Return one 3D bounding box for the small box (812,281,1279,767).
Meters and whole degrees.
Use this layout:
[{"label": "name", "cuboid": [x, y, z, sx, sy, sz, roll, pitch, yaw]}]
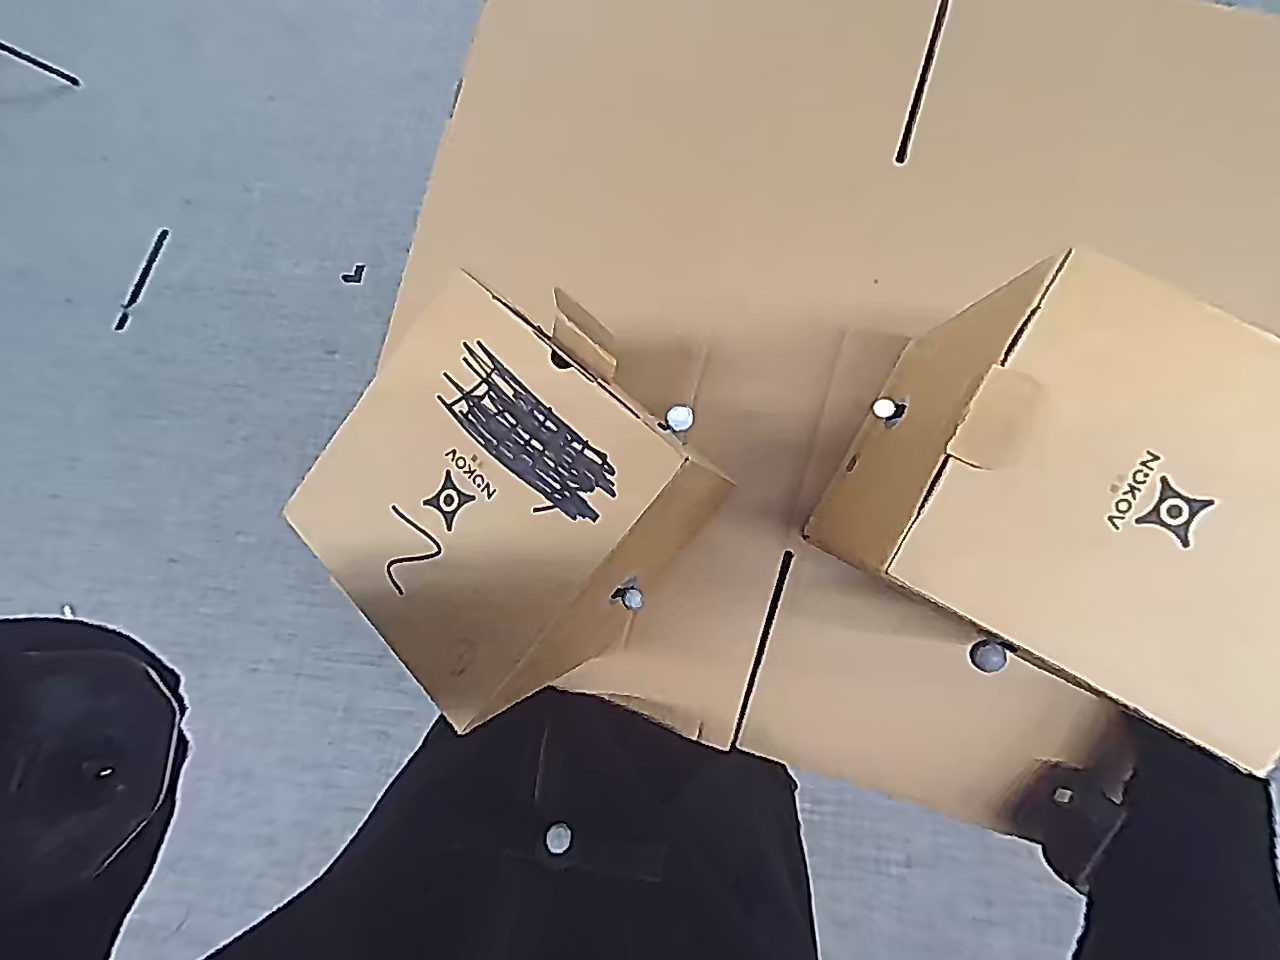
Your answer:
[{"label": "small box", "cuboid": [0.231, 0.017, 0.322, 0.179, 0.176, 0.168, 28, 93, 6]}]
